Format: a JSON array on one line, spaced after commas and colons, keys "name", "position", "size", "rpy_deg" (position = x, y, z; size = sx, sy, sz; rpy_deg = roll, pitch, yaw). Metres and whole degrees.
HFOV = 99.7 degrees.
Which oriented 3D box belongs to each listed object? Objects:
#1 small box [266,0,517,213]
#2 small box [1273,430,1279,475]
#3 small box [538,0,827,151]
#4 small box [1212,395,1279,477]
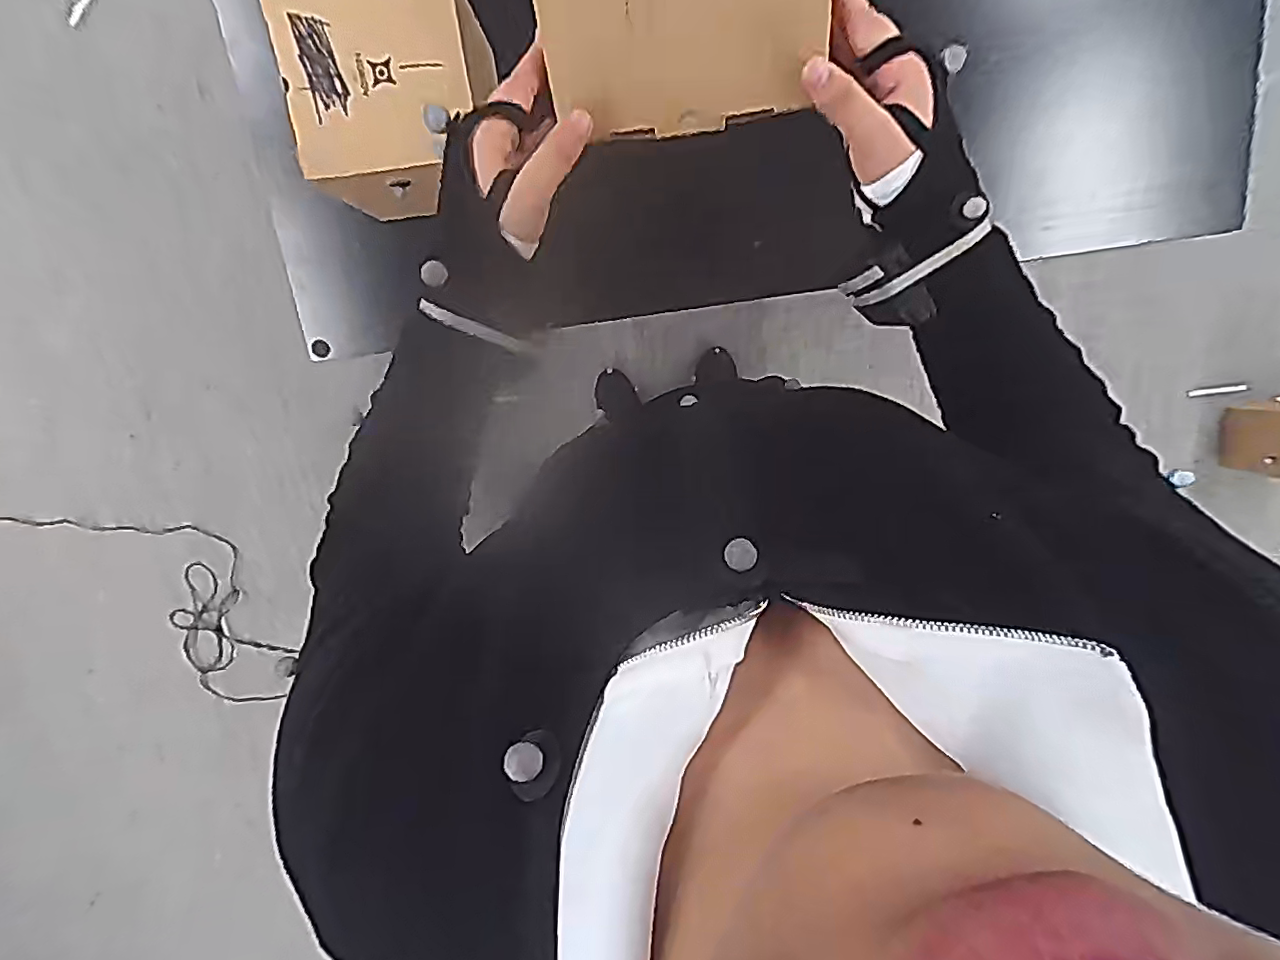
[{"name": "small box", "position": [-0.246, -0.400, 0.579], "size": [0.179, 0.176, 0.168], "rpy_deg": [-7, 104, 0]}, {"name": "small box", "position": [1.668, -0.082, 1.261], "size": [0.179, 0.176, 0.168], "rpy_deg": [-8, 103, 3]}, {"name": "small box", "position": [0.024, -0.339, 0.351], "size": [0.168, 0.176, 0.179], "rpy_deg": [-5, 131, 6]}, {"name": "small box", "position": [1.672, -0.120, 1.419], "size": [0.168, 0.176, 0.179], "rpy_deg": [-9, 104, 1]}]
